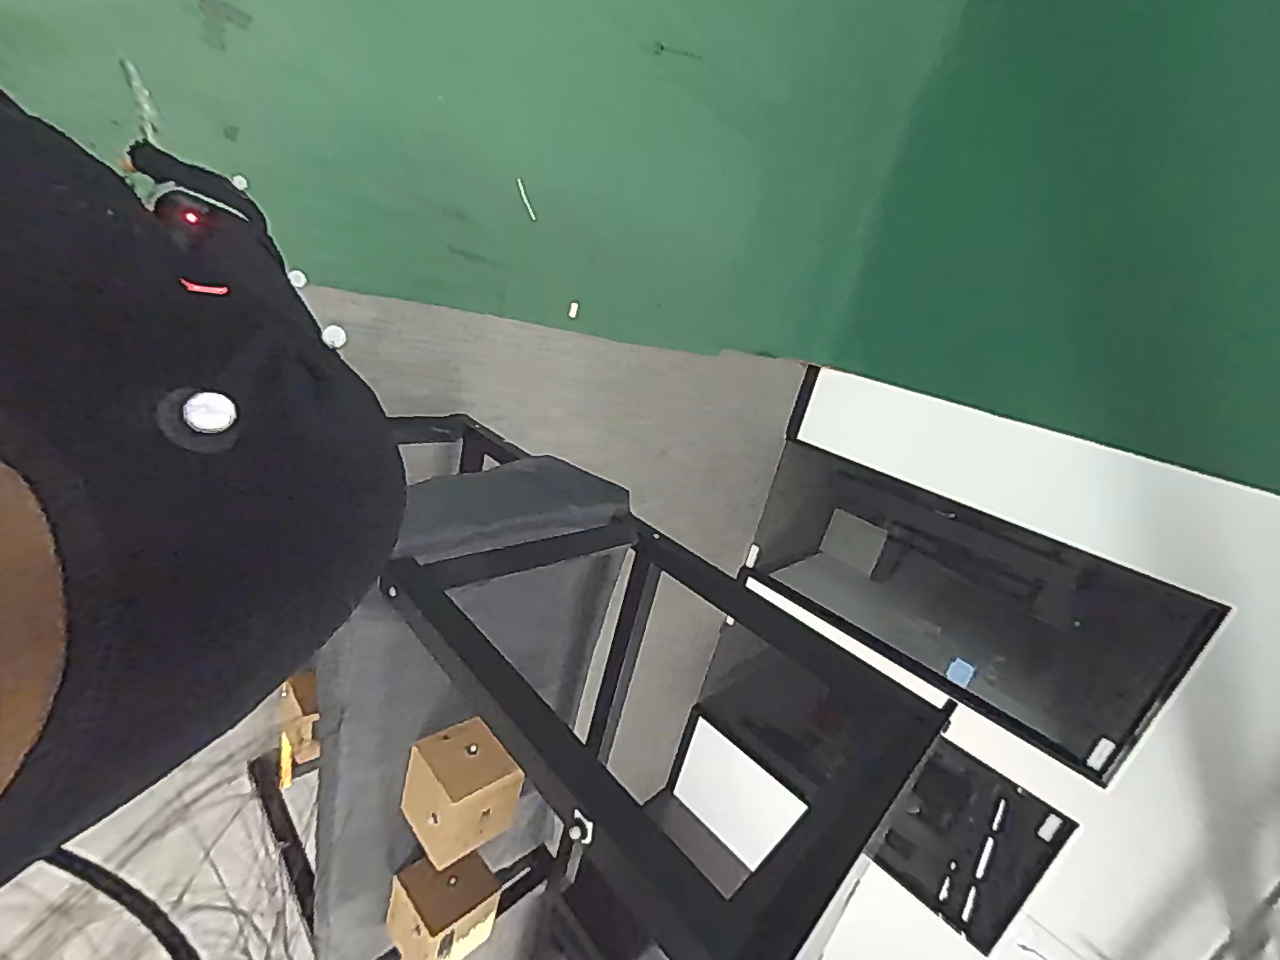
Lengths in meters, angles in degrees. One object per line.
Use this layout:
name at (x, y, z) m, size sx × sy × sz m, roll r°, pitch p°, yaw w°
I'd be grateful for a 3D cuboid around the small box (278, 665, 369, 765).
small box at (-0.902, 0.657, 1.533) m, size 0.179 × 0.176 × 0.168 m, roll -2°, pitch 115°, yaw -49°

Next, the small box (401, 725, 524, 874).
small box at (-0.366, 0.633, 1.104) m, size 0.168 × 0.176 × 0.179 m, roll -3°, pitch 115°, yaw -49°
